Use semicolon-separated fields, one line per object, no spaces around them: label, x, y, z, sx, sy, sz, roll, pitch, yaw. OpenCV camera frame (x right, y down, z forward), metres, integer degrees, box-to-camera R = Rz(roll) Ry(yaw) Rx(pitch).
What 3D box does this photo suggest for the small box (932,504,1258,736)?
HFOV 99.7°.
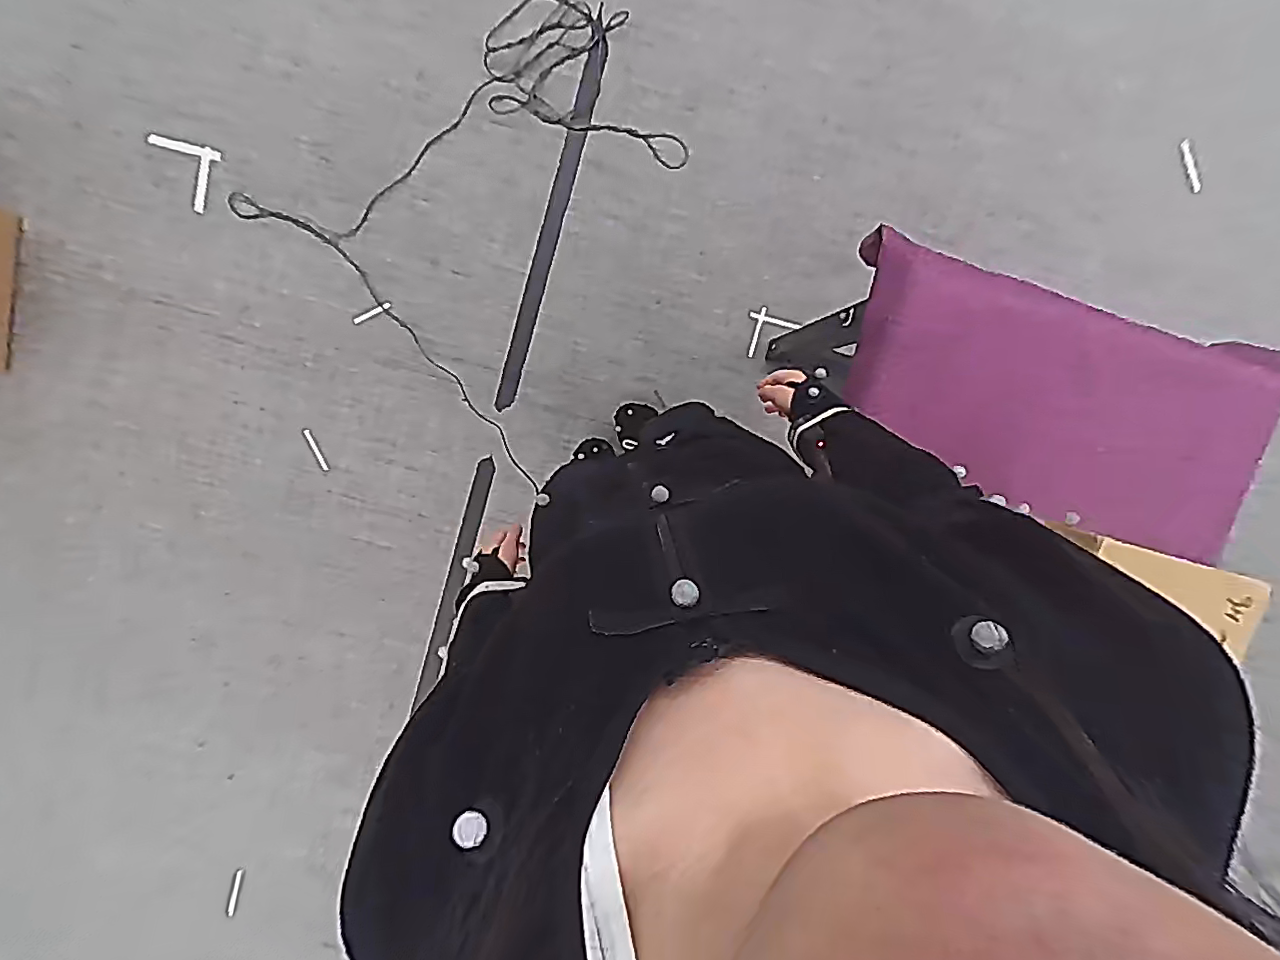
small box;0.451;0.130;0.570;0.179;0.176;0.168;15;97;-6
